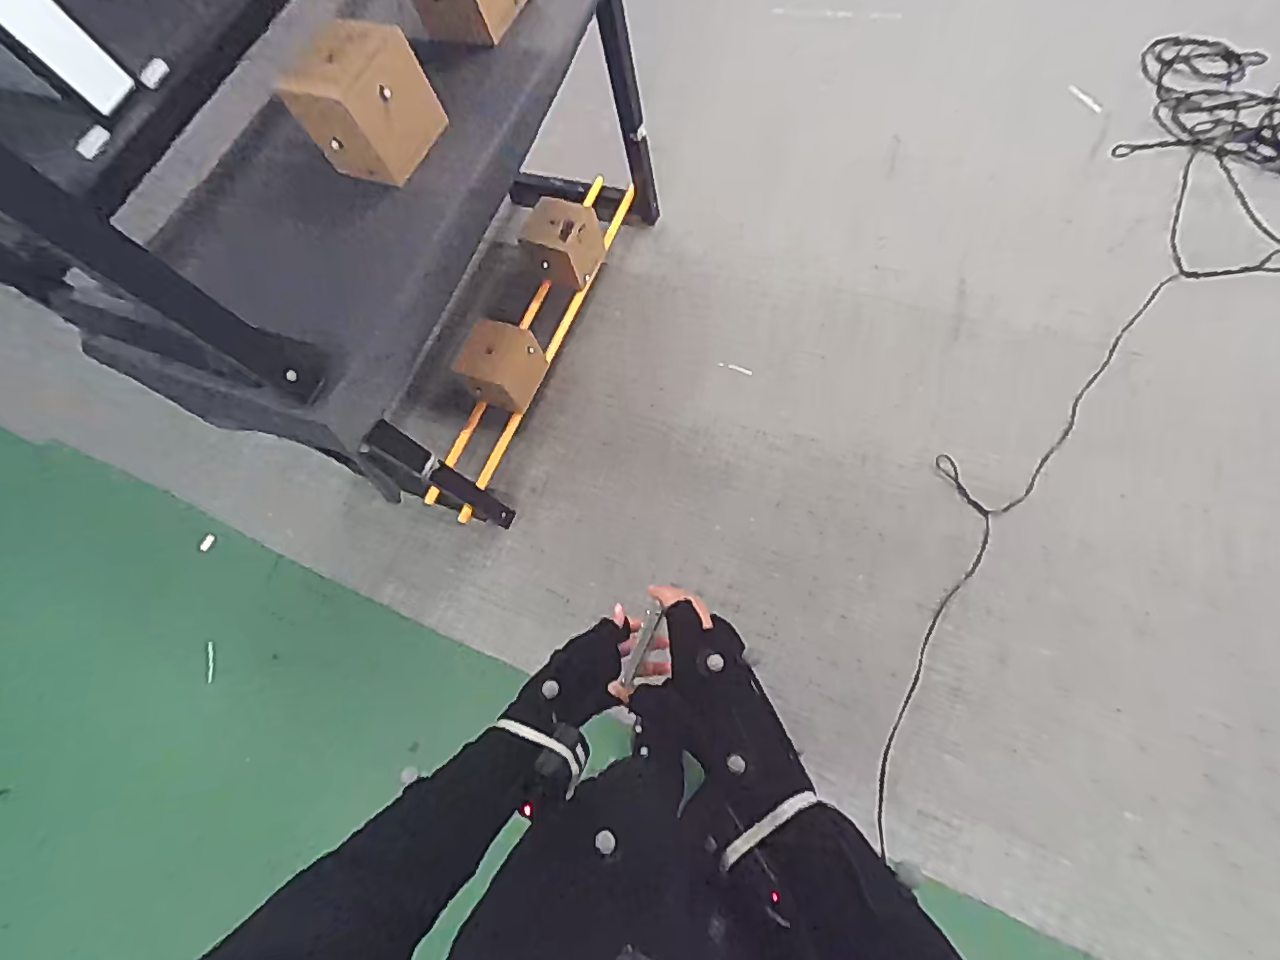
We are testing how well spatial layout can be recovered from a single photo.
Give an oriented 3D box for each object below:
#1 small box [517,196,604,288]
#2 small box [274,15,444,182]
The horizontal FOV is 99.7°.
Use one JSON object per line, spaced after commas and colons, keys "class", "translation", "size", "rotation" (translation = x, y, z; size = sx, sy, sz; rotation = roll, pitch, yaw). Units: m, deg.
{"class": "small box", "translation": [-0.225, -0.695, 1.595], "size": [0.179, 0.176, 0.168], "rotation": [22, 75, 17]}
{"class": "small box", "translation": [-0.483, -0.669, 0.959], "size": [0.168, 0.176, 0.179], "rotation": [22, 75, 17]}
